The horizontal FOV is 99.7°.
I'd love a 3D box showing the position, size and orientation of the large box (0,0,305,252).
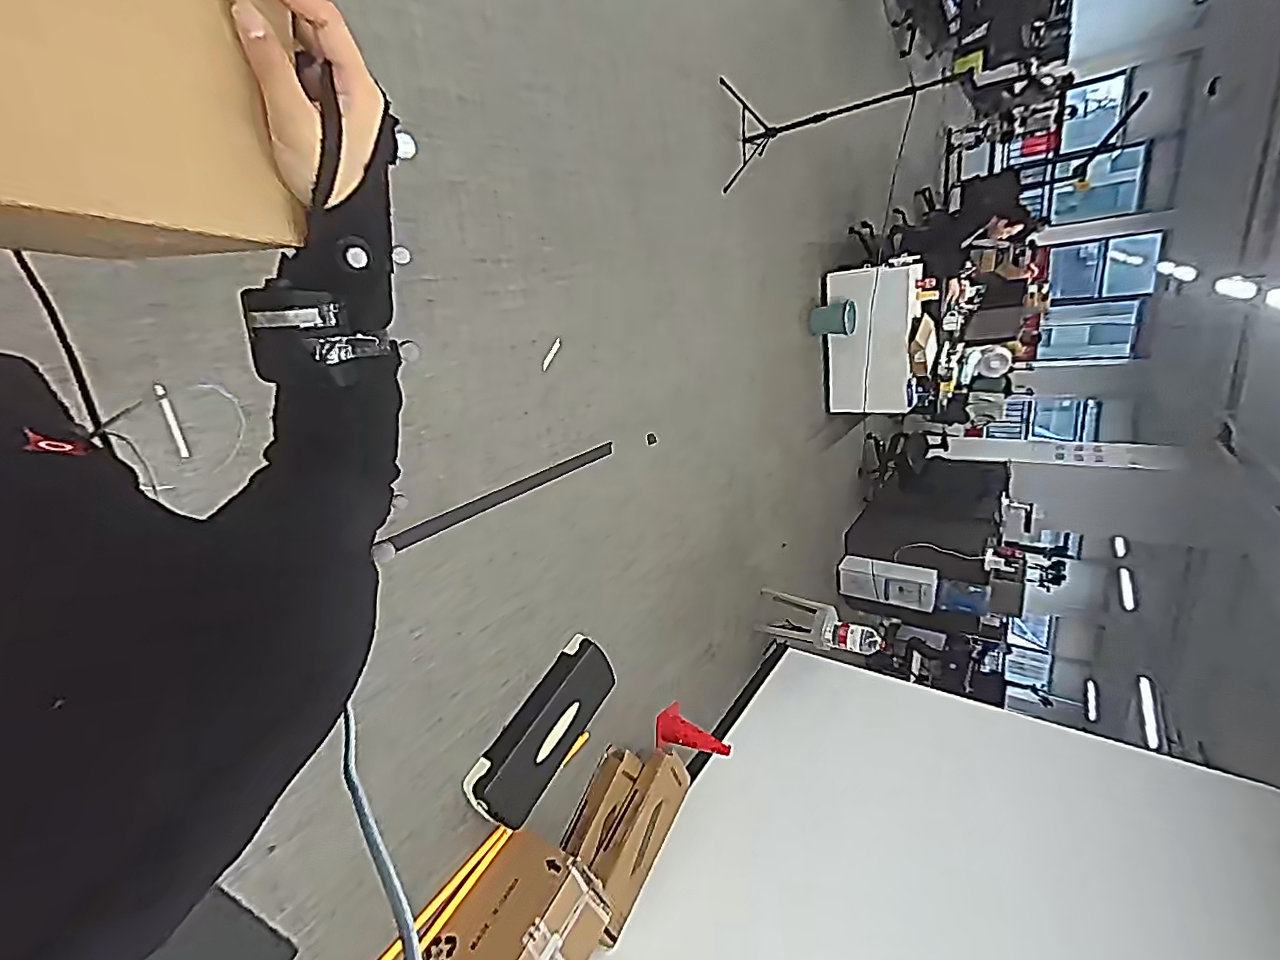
[{"bbox_3d":[-0.435,-0.283,0.211,0.408,0.320,0.320,-21,119,-56],"label":"large box"}]
